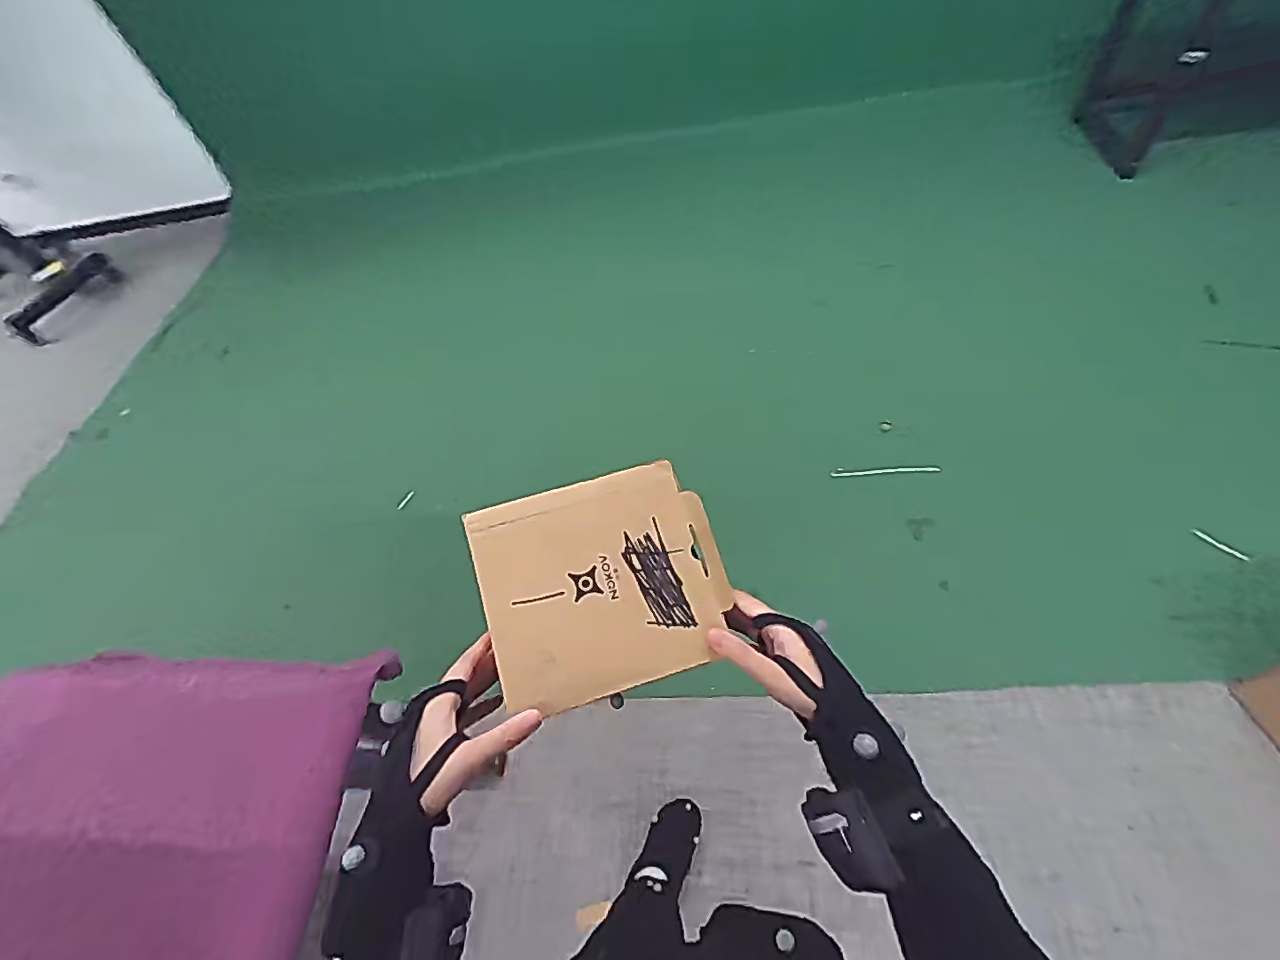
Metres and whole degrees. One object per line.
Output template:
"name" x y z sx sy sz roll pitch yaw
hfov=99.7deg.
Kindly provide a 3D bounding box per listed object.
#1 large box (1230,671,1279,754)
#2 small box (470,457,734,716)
"large box" 1.493 0.506 0.987 0.320 0.320 0.408 -16 52 -1
"small box" -0.038 0.099 0.495 0.179 0.176 0.168 -15 73 -9
